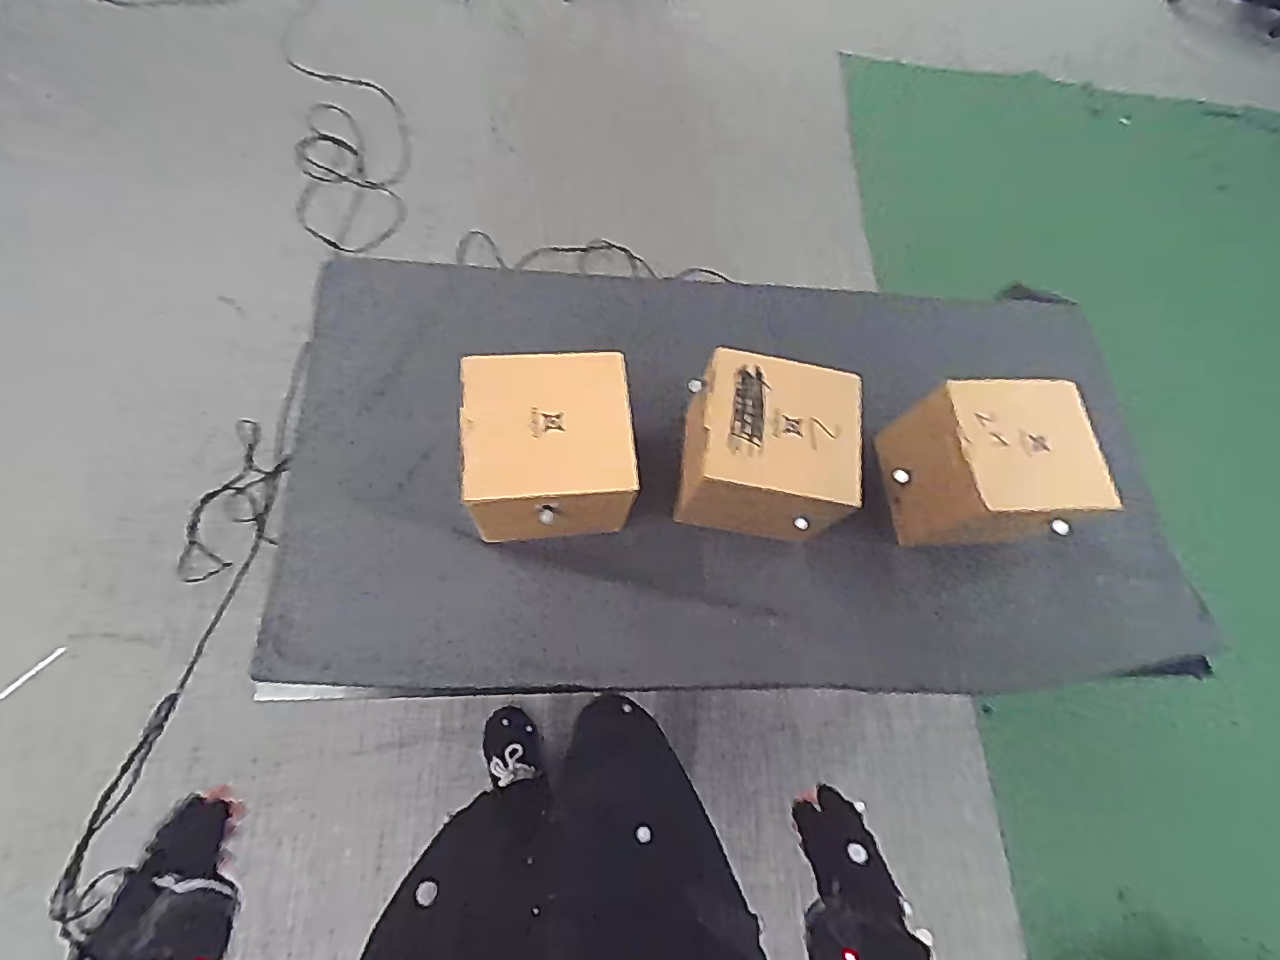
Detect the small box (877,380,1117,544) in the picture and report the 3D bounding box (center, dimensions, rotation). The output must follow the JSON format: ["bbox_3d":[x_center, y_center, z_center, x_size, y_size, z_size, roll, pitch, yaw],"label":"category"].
[{"bbox_3d":[0.445,-0.015,0.705,0.179,0.176,0.168,-1,70,-8],"label":"small box"}]

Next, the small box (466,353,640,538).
[{"bbox_3d":[-0.104,-0.034,0.641,0.179,0.176,0.168,-4,71,-9],"label":"small box"}]
